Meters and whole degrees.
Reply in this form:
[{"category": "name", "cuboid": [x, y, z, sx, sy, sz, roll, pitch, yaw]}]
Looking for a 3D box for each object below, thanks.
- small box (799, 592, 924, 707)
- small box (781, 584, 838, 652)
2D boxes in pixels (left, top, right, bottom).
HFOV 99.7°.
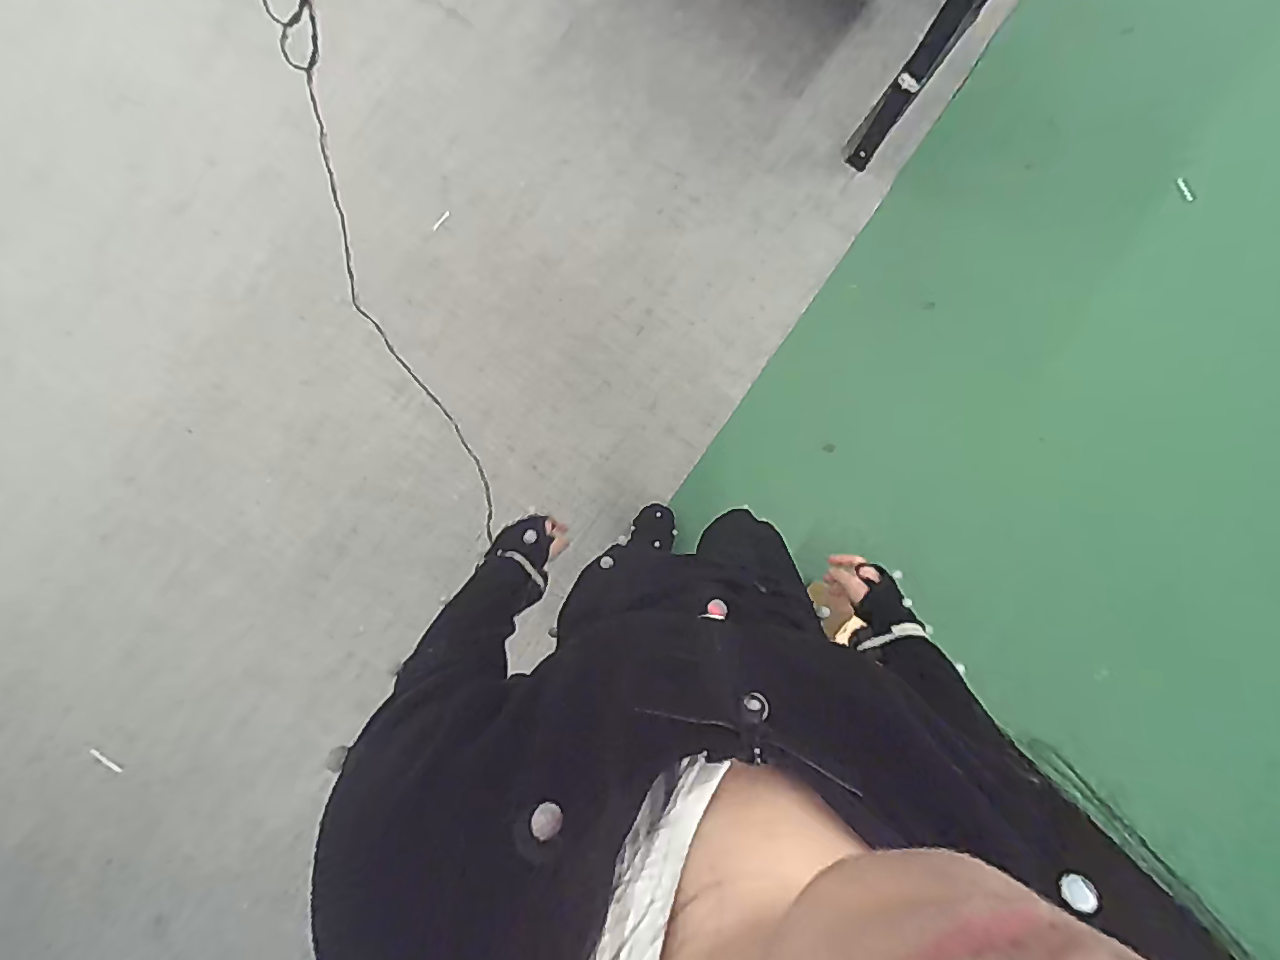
[{"category": "small box", "cuboid": [0.503, 0.382, 1.255, 0.179, 0.176, 0.168, 38, 88, 1]}, {"category": "small box", "cuboid": [0.499, 0.389, 1.420, 0.179, 0.176, 0.168, 36, 88, 0]}]
